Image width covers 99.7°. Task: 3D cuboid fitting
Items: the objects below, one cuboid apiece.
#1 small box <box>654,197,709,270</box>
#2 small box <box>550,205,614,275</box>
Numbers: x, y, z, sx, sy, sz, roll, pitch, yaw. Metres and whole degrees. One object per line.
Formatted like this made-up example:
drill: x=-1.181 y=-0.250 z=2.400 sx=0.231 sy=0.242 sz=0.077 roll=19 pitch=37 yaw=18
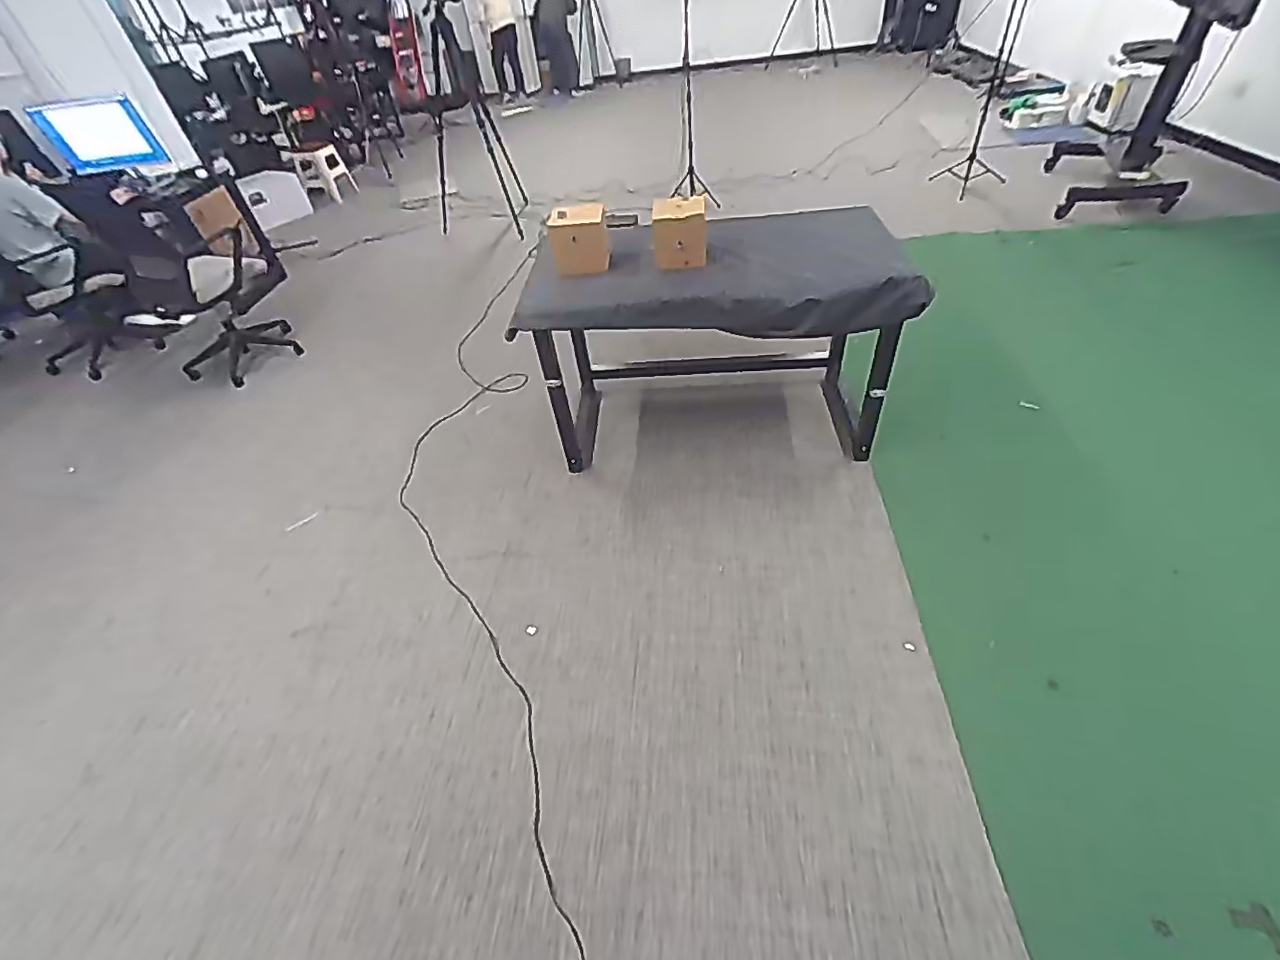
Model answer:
small box: x=0.140 y=-0.801 z=1.768 sx=0.168 sy=0.176 sz=0.179 roll=-1 pitch=45 yaw=7
small box: x=-0.189 y=-0.798 z=1.809 sx=0.179 sy=0.176 sz=0.168 roll=-2 pitch=45 yaw=4
